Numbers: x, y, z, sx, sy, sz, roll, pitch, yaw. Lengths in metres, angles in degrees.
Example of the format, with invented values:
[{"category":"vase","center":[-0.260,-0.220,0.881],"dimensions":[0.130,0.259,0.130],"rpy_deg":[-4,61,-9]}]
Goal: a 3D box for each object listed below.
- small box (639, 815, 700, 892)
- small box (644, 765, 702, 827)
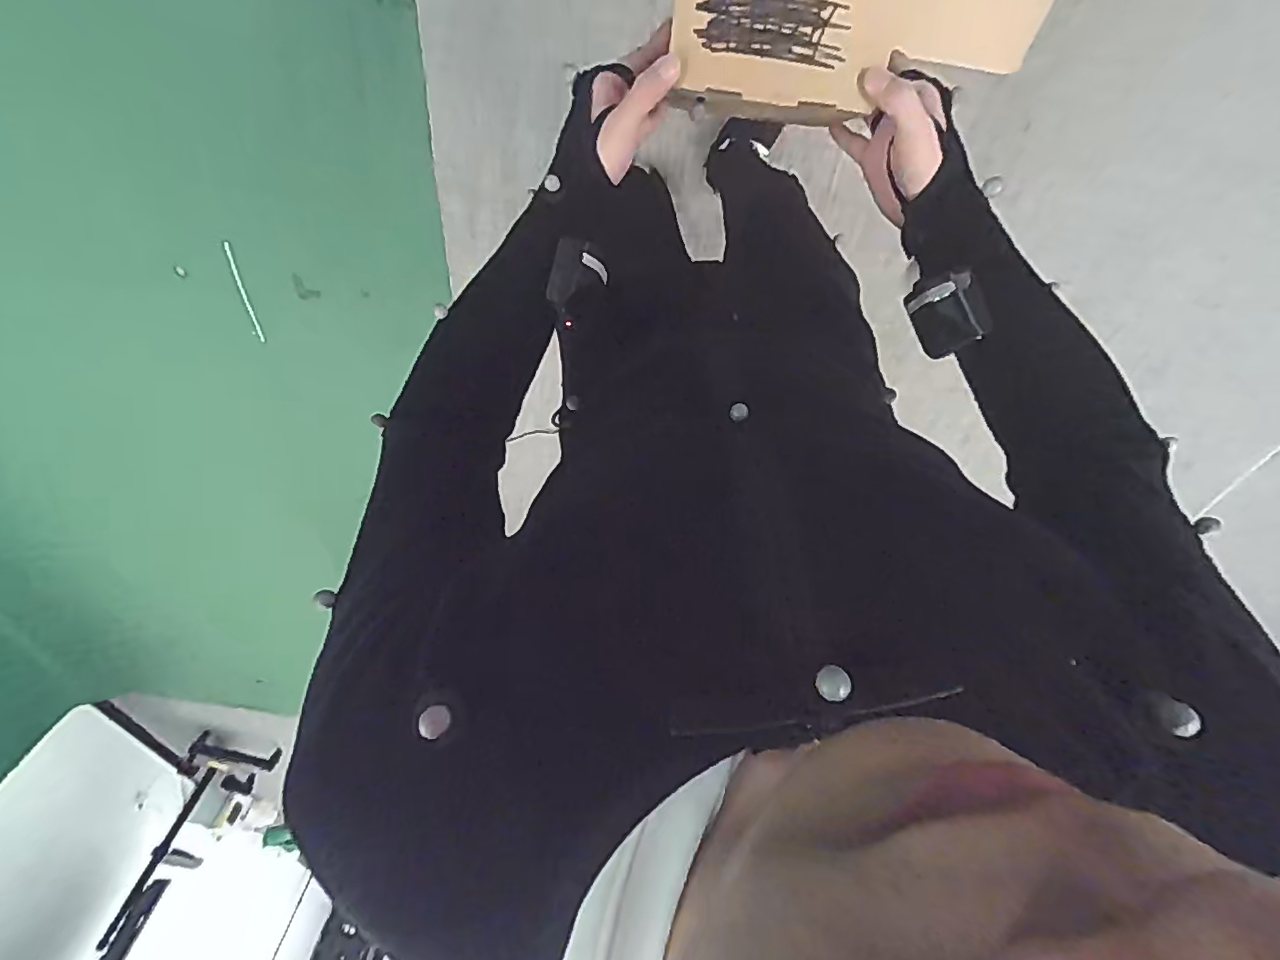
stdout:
[{"category":"small box","center":[0.100,1.249,1.814],"dimensions":[0.179,0.176,0.168],"rpy_deg":[9,133,1]},{"category":"small box","center":[0.119,1.142,1.934],"dimensions":[0.179,0.176,0.168],"rpy_deg":[10,134,1]}]
